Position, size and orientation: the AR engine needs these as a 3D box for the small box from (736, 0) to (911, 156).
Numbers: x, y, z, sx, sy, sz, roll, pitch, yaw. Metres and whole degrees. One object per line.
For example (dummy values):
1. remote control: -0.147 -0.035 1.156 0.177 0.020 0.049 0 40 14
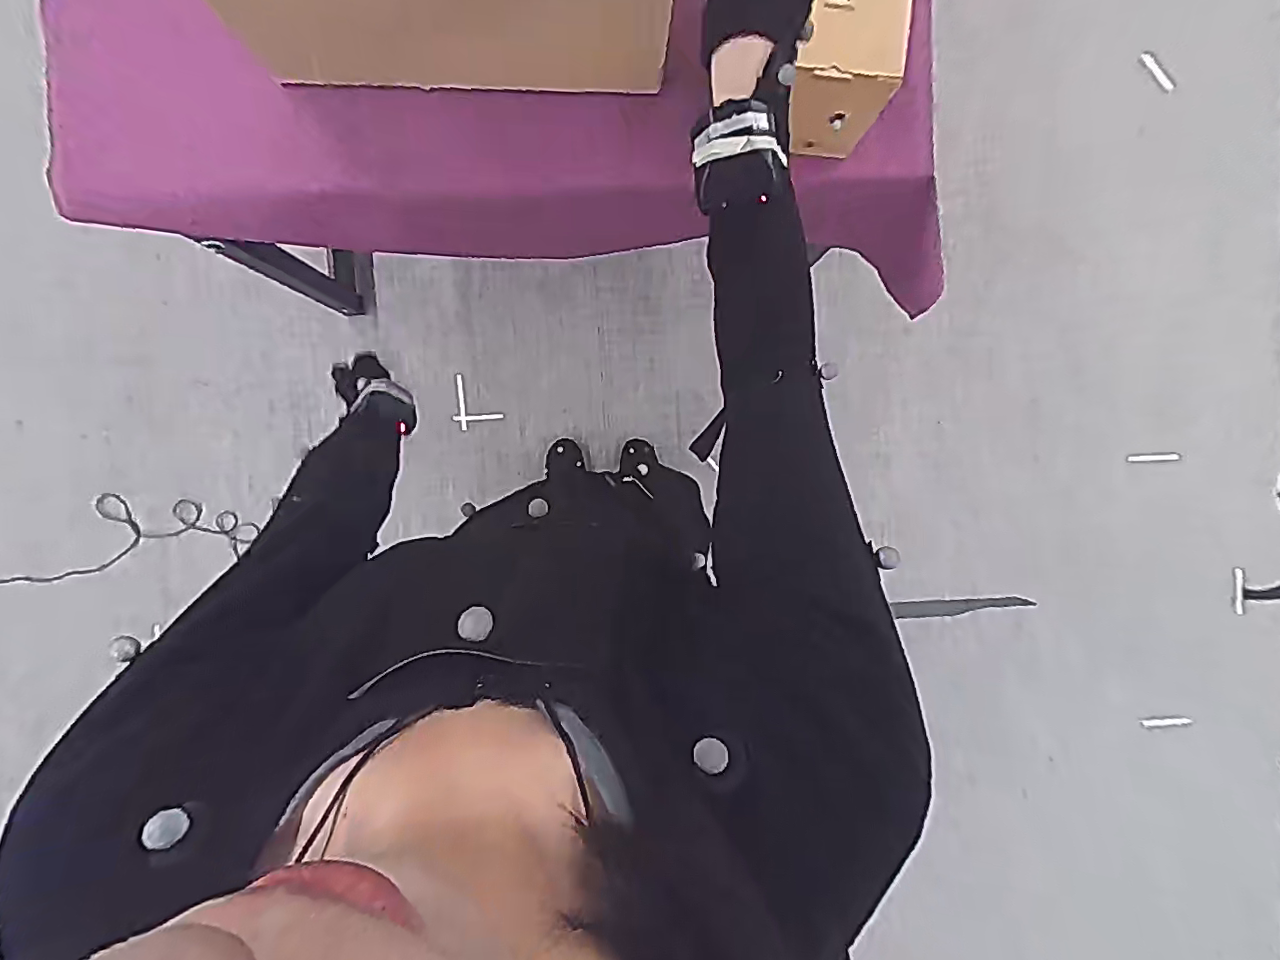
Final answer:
1. small box: 0.224 -0.551 0.693 0.168 0.176 0.179 4 91 -3
